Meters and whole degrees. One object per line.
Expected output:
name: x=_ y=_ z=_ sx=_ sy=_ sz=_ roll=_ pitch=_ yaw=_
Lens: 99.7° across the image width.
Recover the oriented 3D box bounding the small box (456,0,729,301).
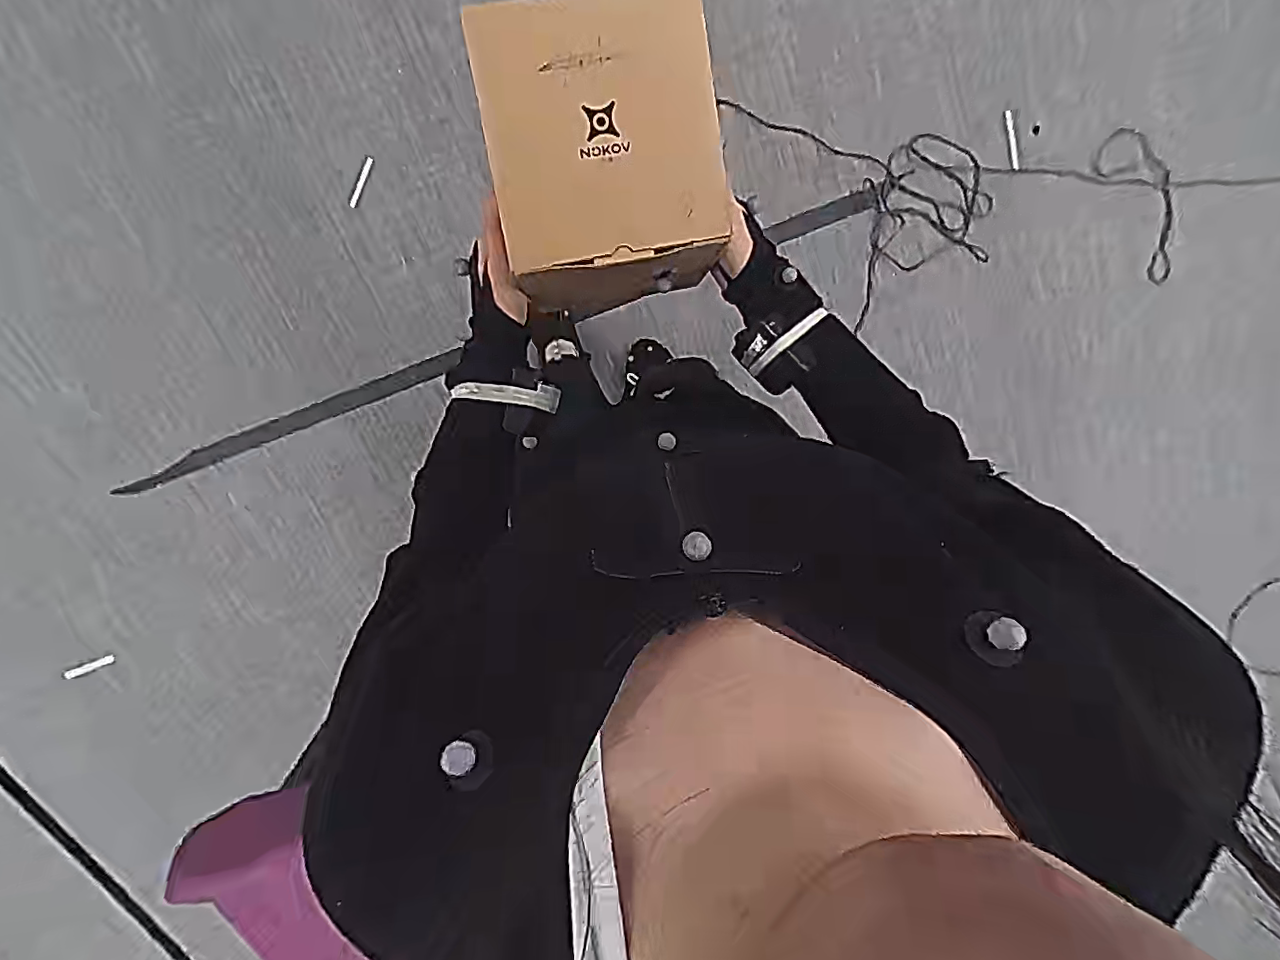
small box: x=-0.033 y=-0.258 z=0.454 sx=0.168 sy=0.176 sz=0.179 roll=-11 pitch=98 yaw=-2
